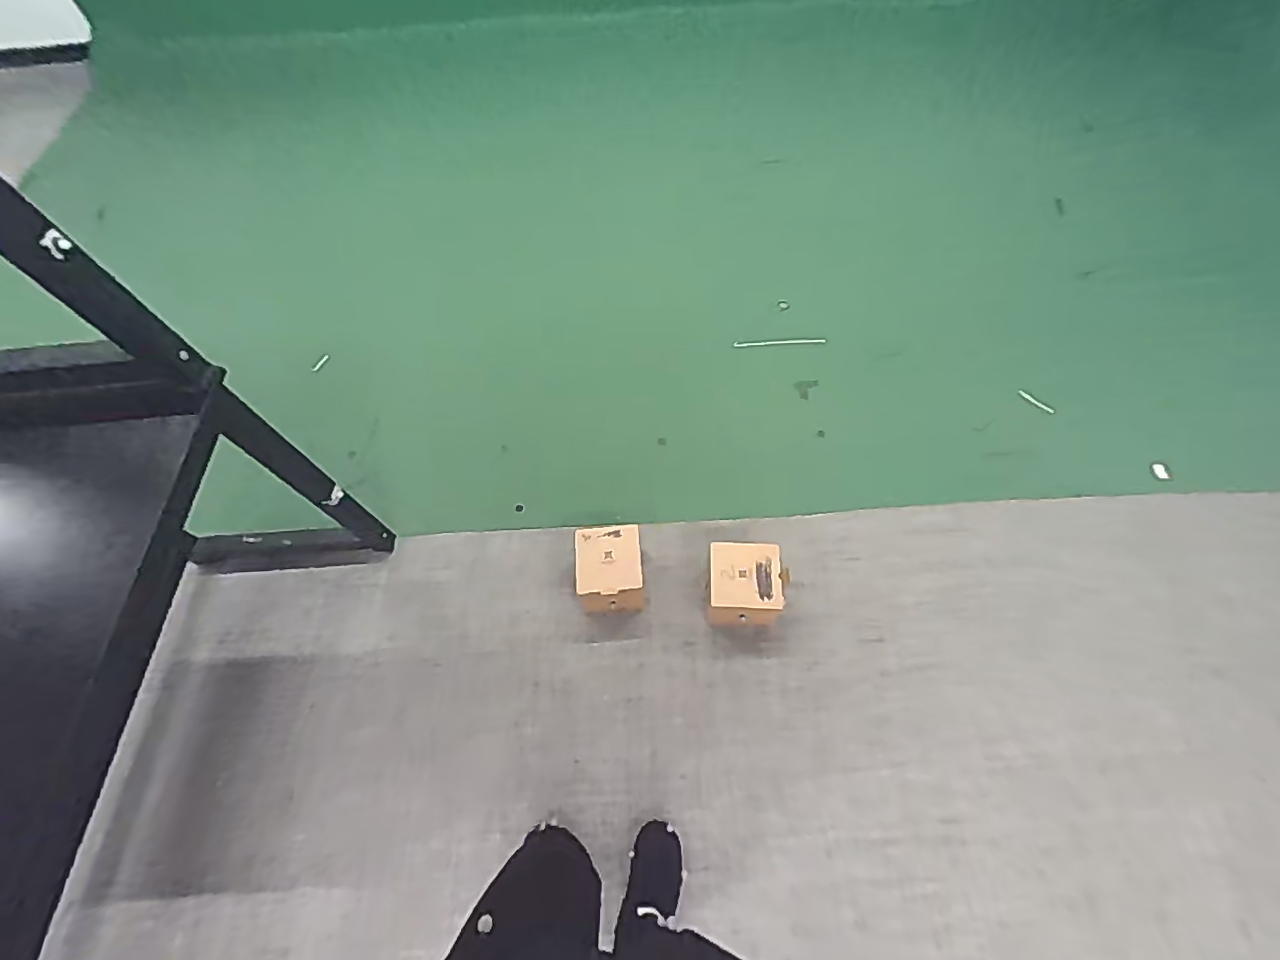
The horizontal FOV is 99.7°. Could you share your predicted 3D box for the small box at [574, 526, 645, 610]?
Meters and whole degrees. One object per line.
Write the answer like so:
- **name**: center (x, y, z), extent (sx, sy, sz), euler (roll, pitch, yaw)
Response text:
- **small box**: center (-0.076, 0.236, 1.410), extent (0.168, 0.176, 0.179), euler (-5, 62, 1)
